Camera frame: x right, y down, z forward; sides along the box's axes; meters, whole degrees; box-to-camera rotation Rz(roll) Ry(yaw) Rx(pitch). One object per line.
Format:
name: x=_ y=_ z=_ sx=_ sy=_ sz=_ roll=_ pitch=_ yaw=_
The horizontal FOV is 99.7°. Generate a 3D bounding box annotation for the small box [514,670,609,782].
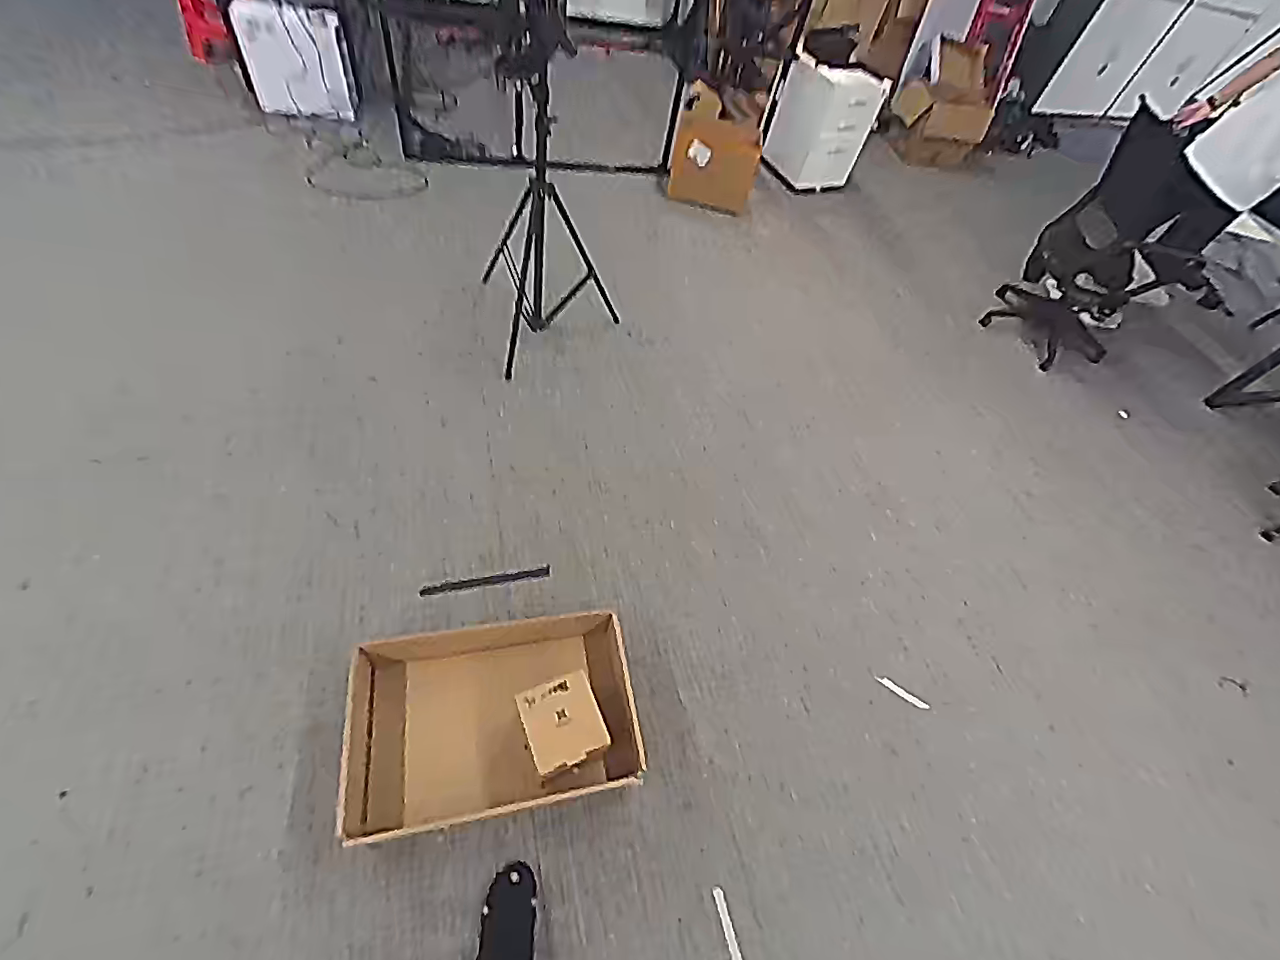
small box: x=-0.183 y=0.569 z=1.239 sx=0.168 sy=0.176 sz=0.179 roll=-15 pitch=59 yaw=-22
